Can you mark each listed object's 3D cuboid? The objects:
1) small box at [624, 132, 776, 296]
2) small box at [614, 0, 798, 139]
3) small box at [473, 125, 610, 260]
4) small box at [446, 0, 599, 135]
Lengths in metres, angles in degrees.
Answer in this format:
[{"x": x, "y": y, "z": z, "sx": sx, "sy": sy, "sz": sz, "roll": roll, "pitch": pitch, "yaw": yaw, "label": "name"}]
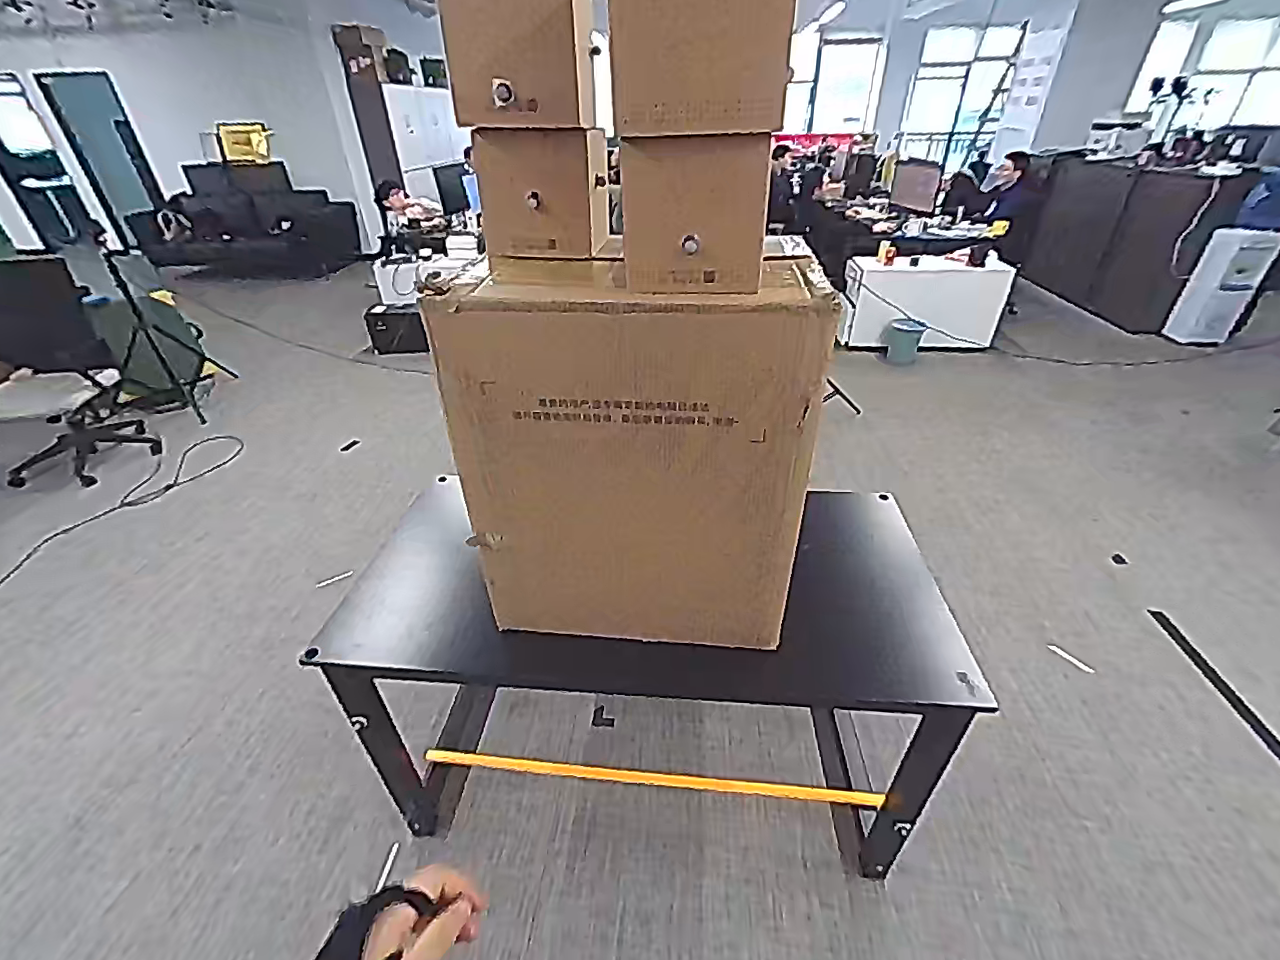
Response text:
[{"x": 0.076, "y": -0.343, "z": 0.687, "sx": 0.168, "sy": 0.176, "sz": 0.179, "roll": 3, "pitch": 35, "yaw": 8, "label": "small box"}, {"x": 0.066, "y": -0.462, "z": 0.569, "sx": 0.179, "sy": 0.176, "sz": 0.168, "roll": 1, "pitch": 35, "yaw": 4, "label": "small box"}, {"x": -0.139, "y": -0.447, "z": 0.842, "sx": 0.168, "sy": 0.176, "sz": 0.179, "roll": 3, "pitch": 34, "yaw": 5, "label": "small box"}, {"x": -0.146, "y": -0.565, "z": 0.723, "sx": 0.168, "sy": 0.176, "sz": 0.179, "roll": 1, "pitch": 34, "yaw": 3, "label": "small box"}]
